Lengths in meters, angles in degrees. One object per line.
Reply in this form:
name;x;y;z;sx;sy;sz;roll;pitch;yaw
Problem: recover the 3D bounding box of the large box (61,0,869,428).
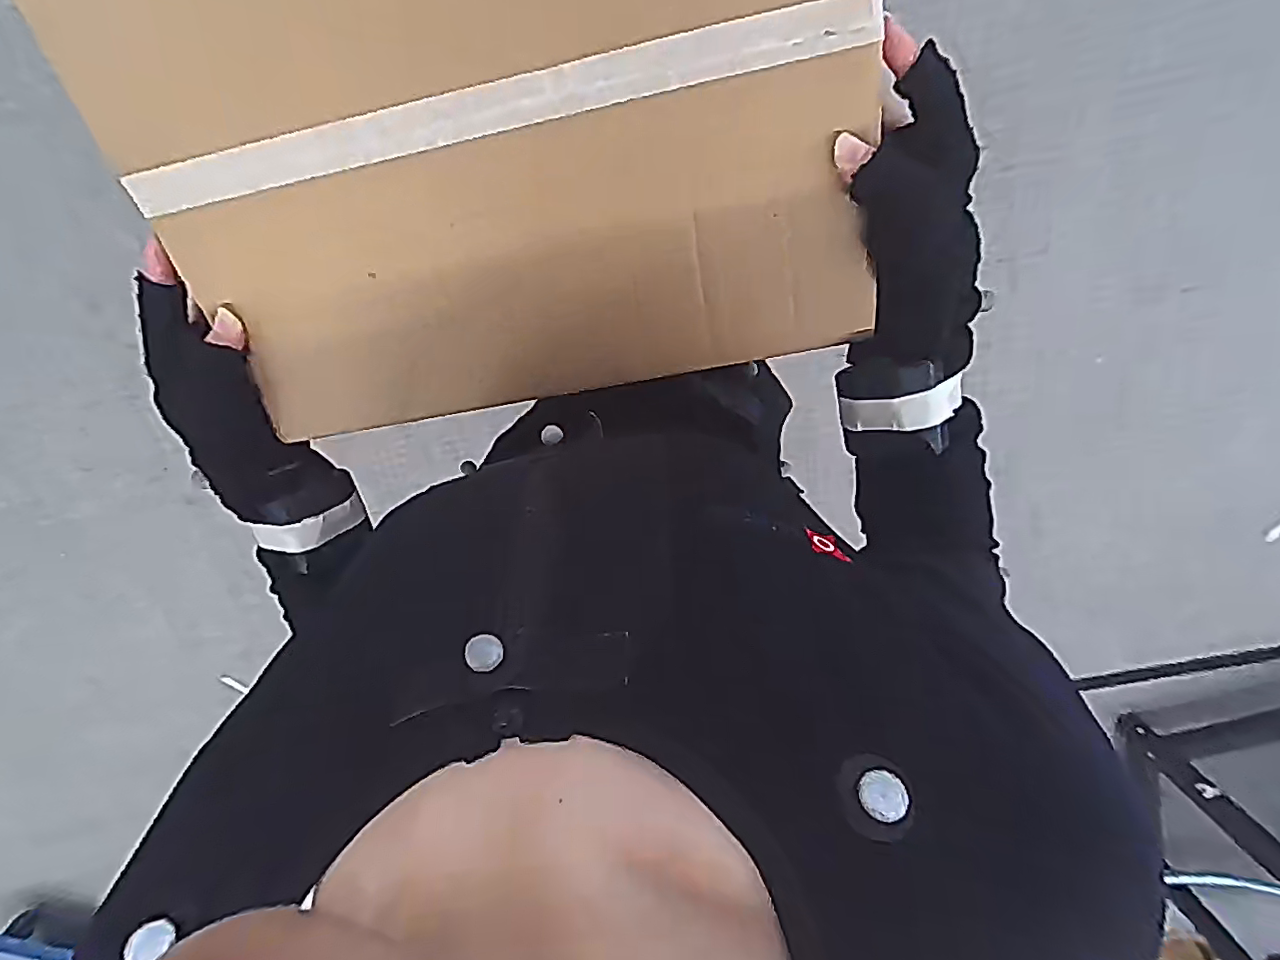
large box;-0.079;-0.272;0.420;0.408;0.320;0.320;-9;120;6
